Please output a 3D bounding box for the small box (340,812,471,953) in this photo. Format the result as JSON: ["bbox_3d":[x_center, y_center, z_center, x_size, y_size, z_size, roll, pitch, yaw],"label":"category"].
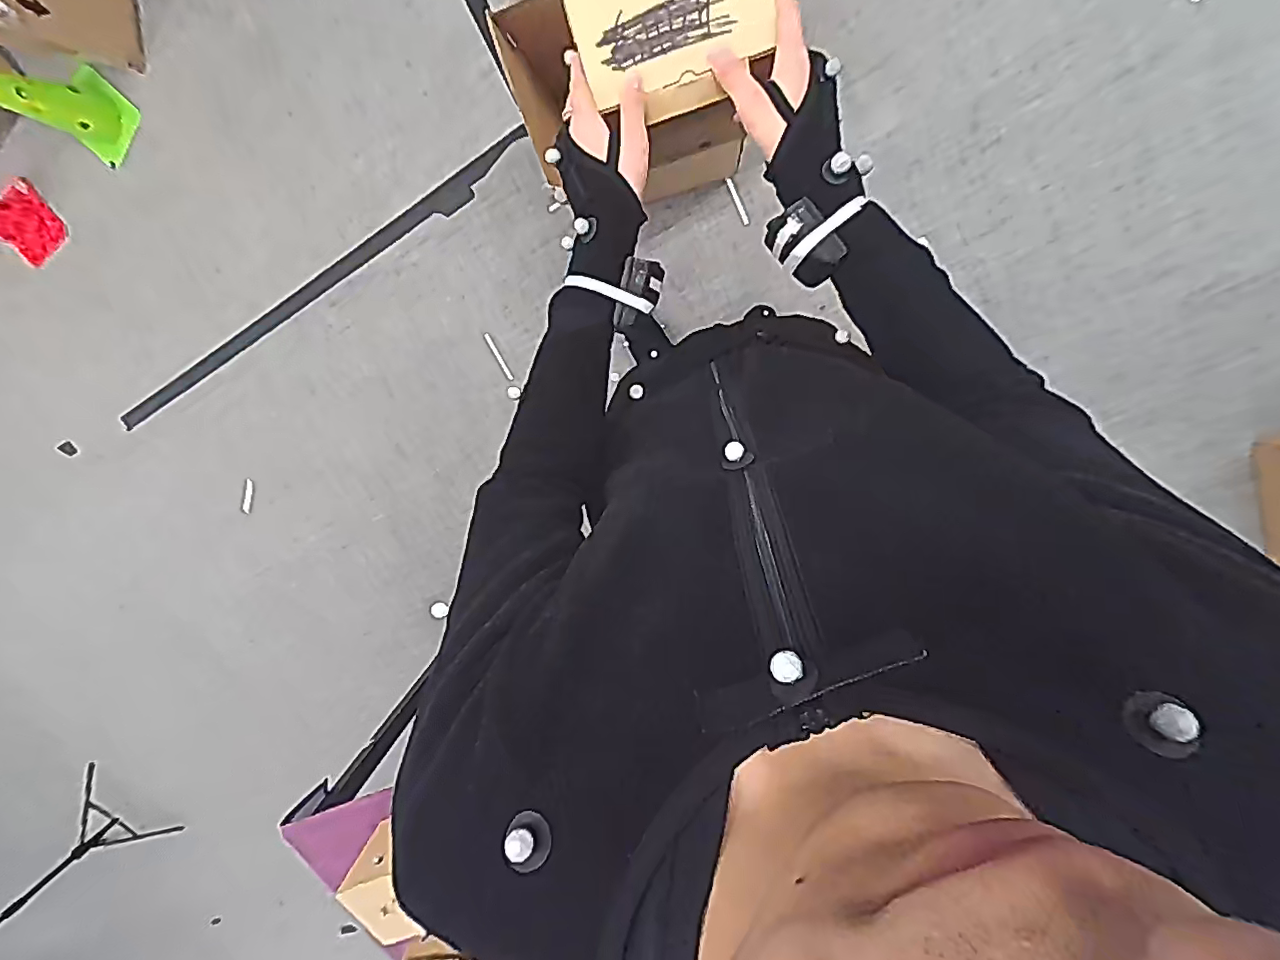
[{"bbox_3d":[-0.494,0.867,1.176,0.179,0.176,0.168,-31,102,17],"label":"small box"}]
